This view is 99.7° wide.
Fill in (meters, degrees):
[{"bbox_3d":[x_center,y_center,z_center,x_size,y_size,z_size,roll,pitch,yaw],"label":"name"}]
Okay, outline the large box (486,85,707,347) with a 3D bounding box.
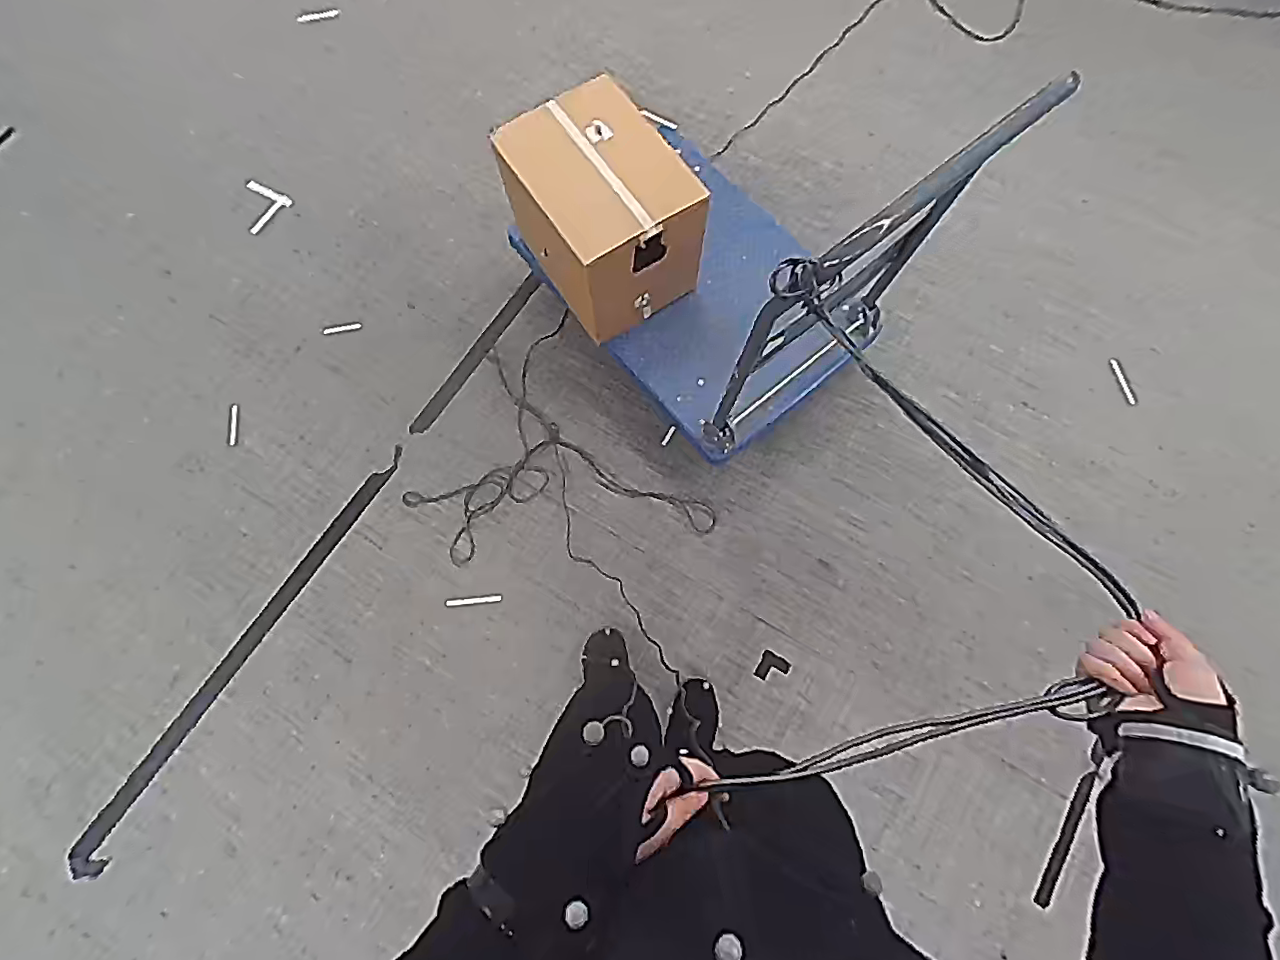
[{"bbox_3d":[-0.093,-0.604,1.278,0.320,0.320,0.408,-33,76,-10],"label":"large box"}]
